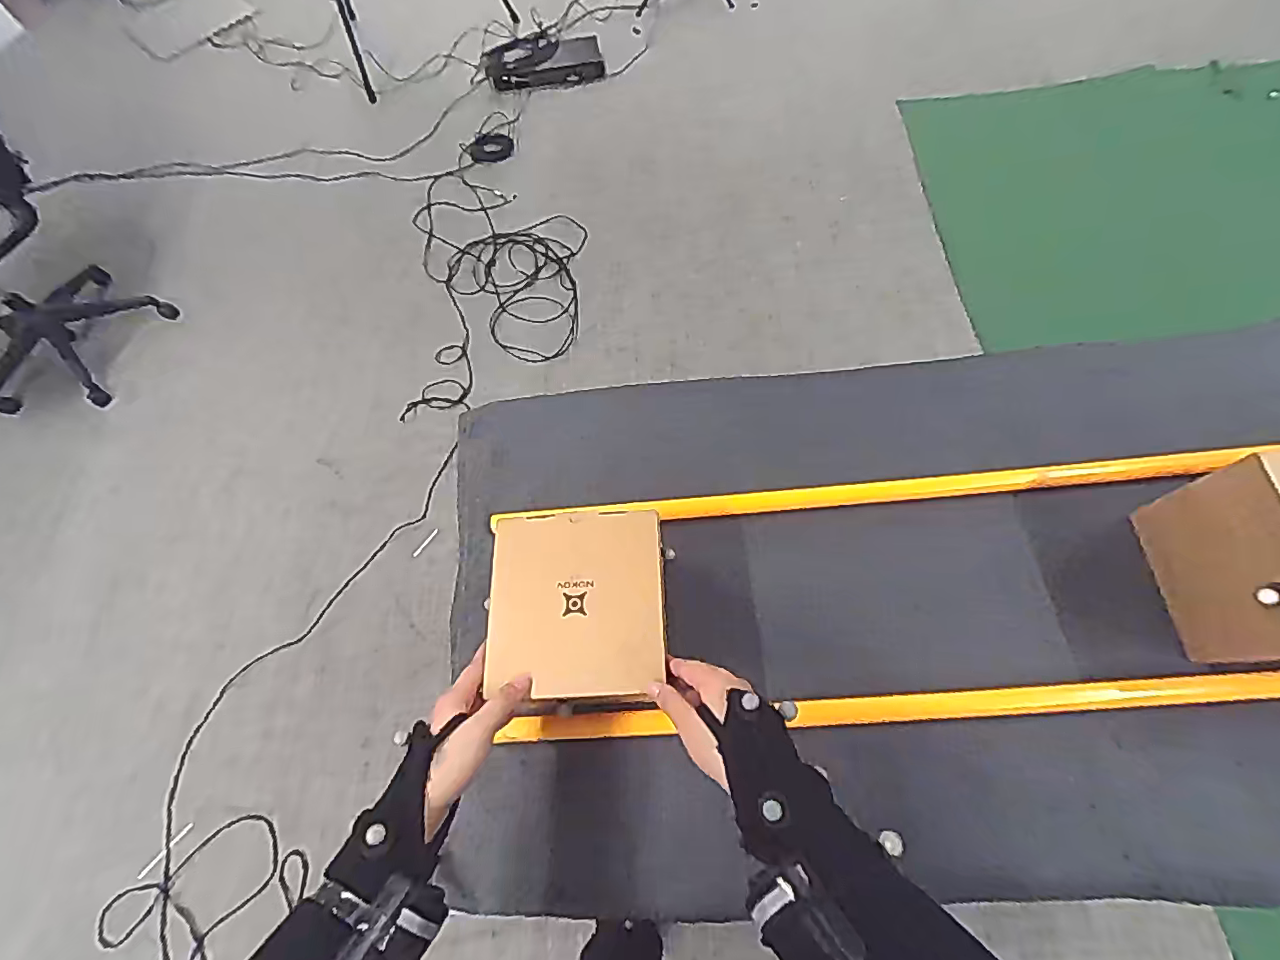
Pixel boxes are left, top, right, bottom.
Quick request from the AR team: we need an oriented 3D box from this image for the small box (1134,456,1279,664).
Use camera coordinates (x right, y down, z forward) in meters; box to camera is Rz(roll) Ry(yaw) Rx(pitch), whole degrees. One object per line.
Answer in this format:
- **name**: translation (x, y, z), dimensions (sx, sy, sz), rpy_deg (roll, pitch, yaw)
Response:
- **small box**: translation (0.661, 0.087, 0.537), dimensions (0.168, 0.176, 0.179), rpy_deg (-2, 65, 6)

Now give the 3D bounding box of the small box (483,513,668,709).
- **small box**: translation (-0.056, 0.150, 0.581), dimensions (0.168, 0.176, 0.179), rpy_deg (-3, 64, 2)
